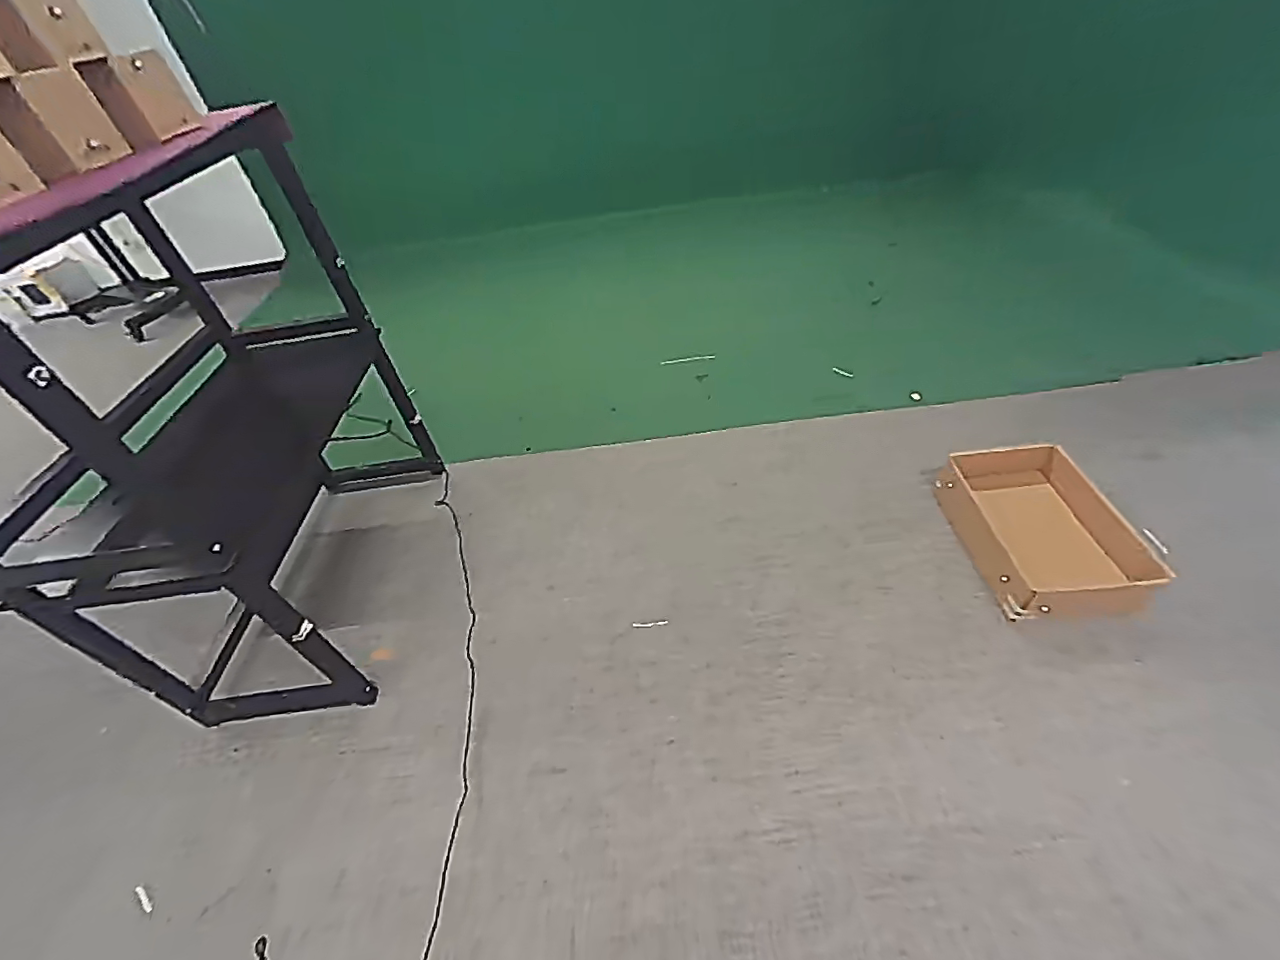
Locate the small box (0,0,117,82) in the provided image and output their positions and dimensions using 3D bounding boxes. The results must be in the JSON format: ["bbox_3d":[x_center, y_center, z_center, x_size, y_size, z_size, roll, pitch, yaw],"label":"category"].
[{"bbox_3d":[-1.269,-0.940,1.121,0.179,0.176,0.168,-7,44,5],"label":"small box"}]

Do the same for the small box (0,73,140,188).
[{"bbox_3d":[-1.234,-0.727,1.133,0.179,0.176,0.168,-6,44,5],"label":"small box"}]

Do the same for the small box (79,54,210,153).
[{"bbox_3d":[-1.245,-0.931,1.346,0.179,0.176,0.168,-3,45,10],"label":"small box"}]

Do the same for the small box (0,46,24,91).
[{"bbox_3d":[-1.239,-0.741,0.912,0.179,0.176,0.168,-11,43,2],"label":"small box"}]

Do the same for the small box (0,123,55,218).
[{"bbox_3d":[-1.197,-0.533,0.920,0.179,0.176,0.168,-9,43,2],"label":"small box"}]
